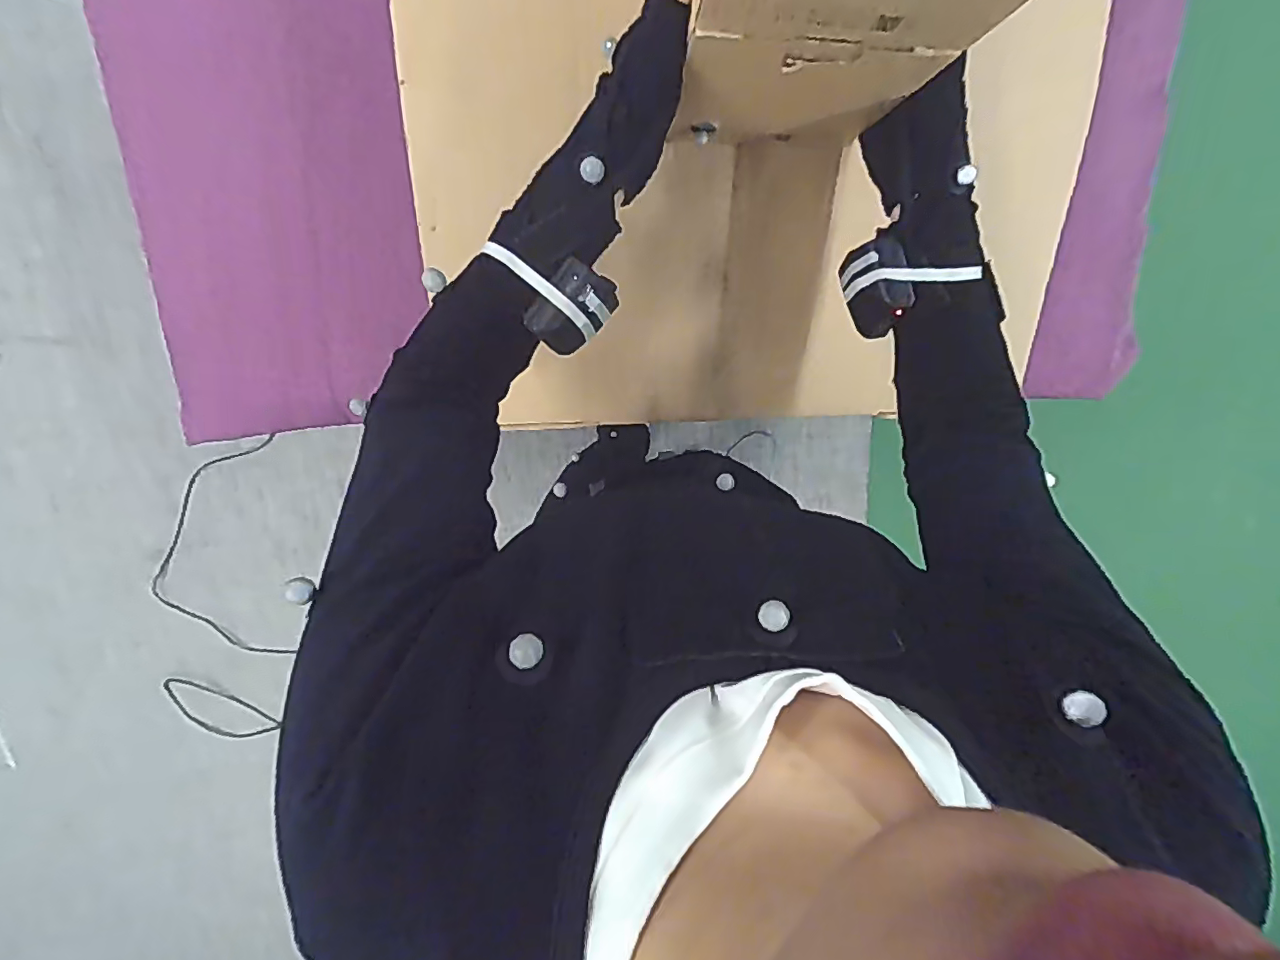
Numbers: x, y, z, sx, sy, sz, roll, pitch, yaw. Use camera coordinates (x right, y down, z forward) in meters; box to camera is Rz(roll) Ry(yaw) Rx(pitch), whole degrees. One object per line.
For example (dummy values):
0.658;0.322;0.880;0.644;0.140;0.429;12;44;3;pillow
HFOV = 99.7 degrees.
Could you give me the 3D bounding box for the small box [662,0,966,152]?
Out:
0.107;-0.354;0.377;0.168;0.176;0.179;1;103;-5;small box
